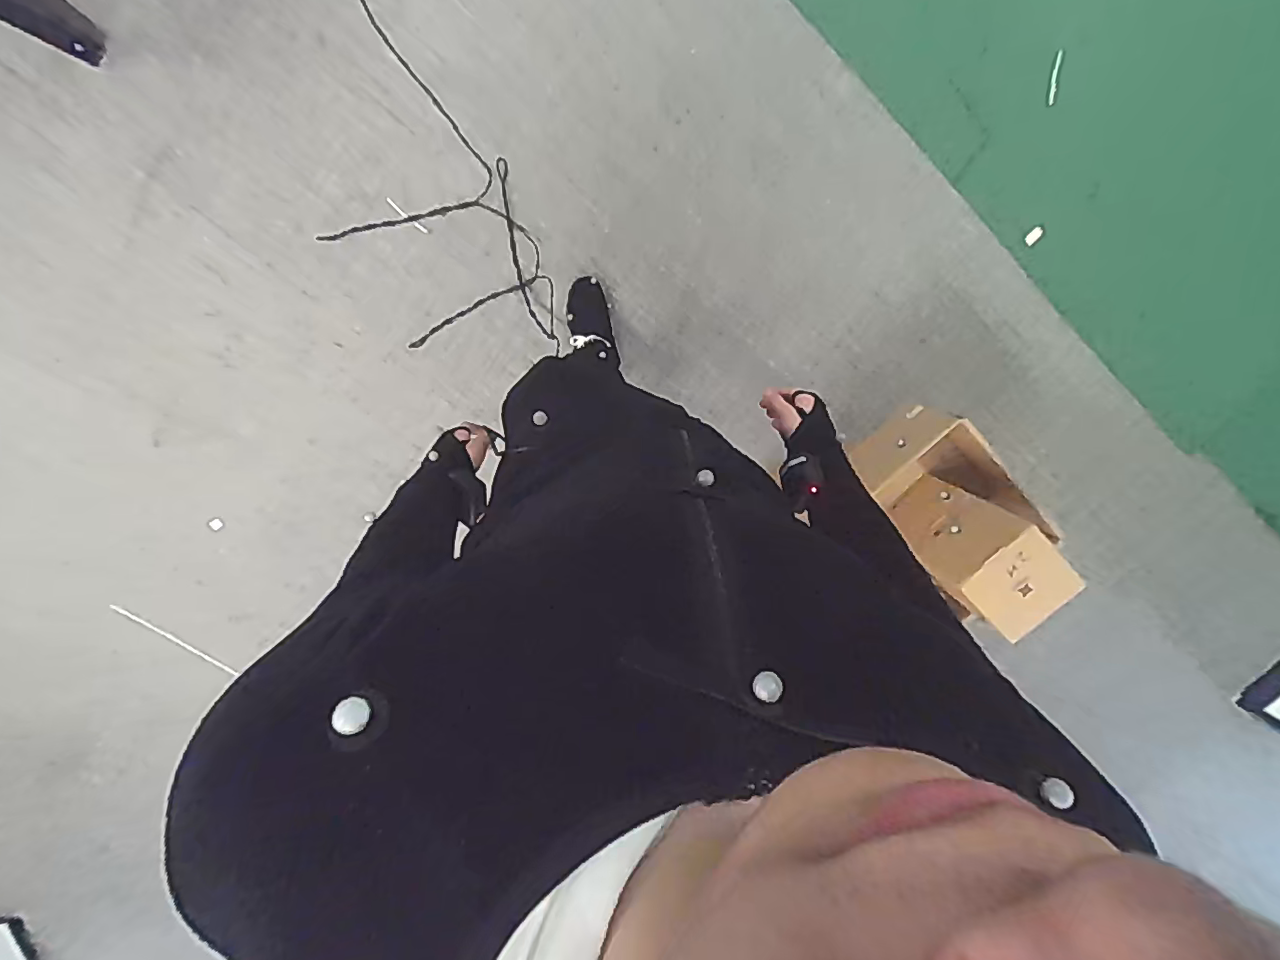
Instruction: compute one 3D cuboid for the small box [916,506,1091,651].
[{"bbox_3d":[0.669,0.175,1.015,0.179,0.176,0.168,43,100,-13],"label":"small box"}]
